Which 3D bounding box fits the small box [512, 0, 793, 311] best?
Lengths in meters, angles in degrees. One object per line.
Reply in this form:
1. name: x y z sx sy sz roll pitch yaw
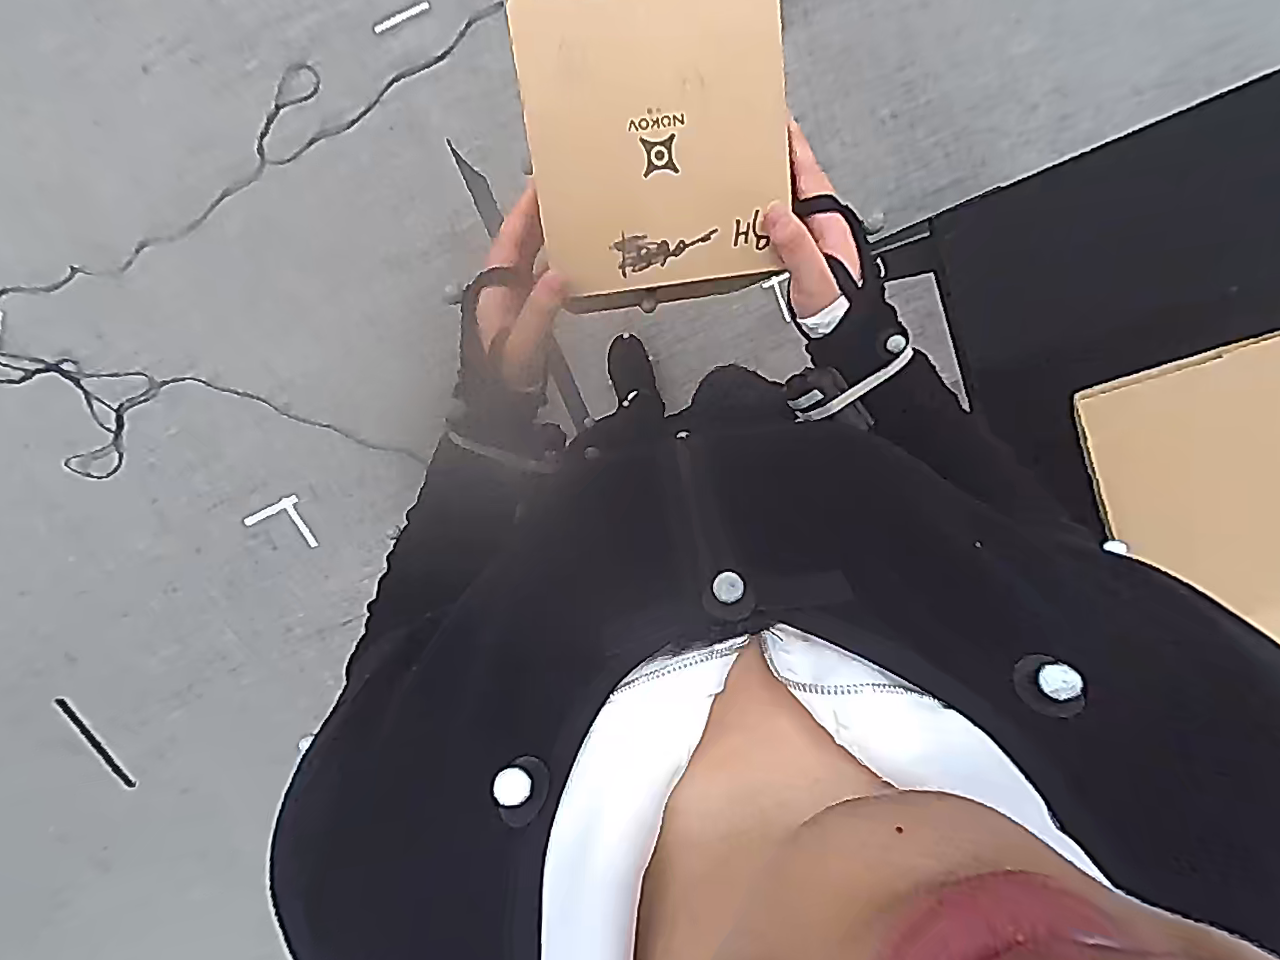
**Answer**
1. small box: 0.006 -0.237 0.418 0.168 0.176 0.179 -8 103 -2
